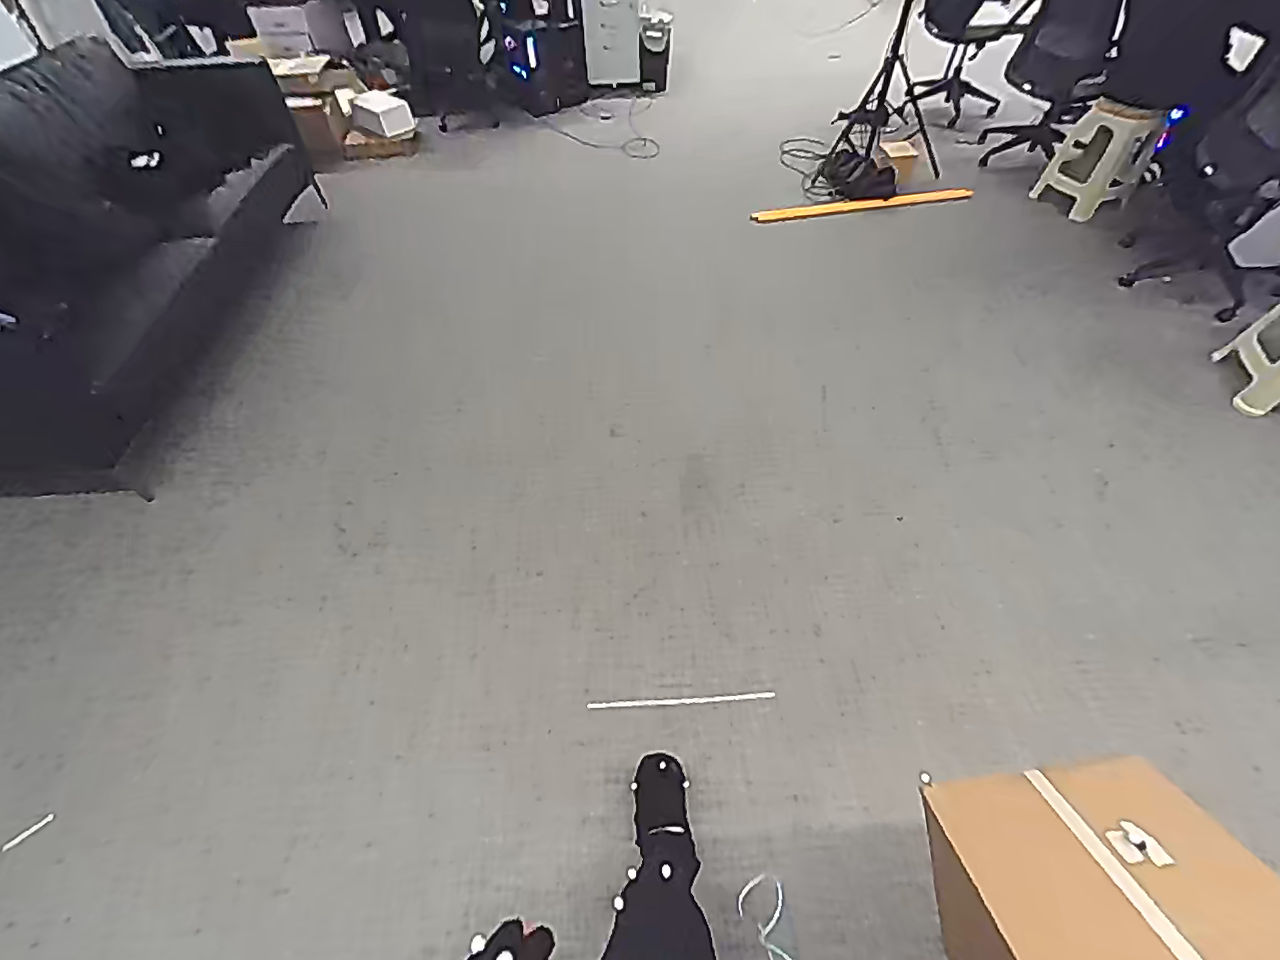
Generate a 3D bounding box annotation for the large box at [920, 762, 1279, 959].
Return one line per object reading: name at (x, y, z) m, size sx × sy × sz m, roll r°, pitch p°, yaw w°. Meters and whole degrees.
large box at (0.601, 0.634, 0.648) m, size 0.320 × 0.320 × 0.408 m, roll -12°, pitch 12°, yaw 6°
